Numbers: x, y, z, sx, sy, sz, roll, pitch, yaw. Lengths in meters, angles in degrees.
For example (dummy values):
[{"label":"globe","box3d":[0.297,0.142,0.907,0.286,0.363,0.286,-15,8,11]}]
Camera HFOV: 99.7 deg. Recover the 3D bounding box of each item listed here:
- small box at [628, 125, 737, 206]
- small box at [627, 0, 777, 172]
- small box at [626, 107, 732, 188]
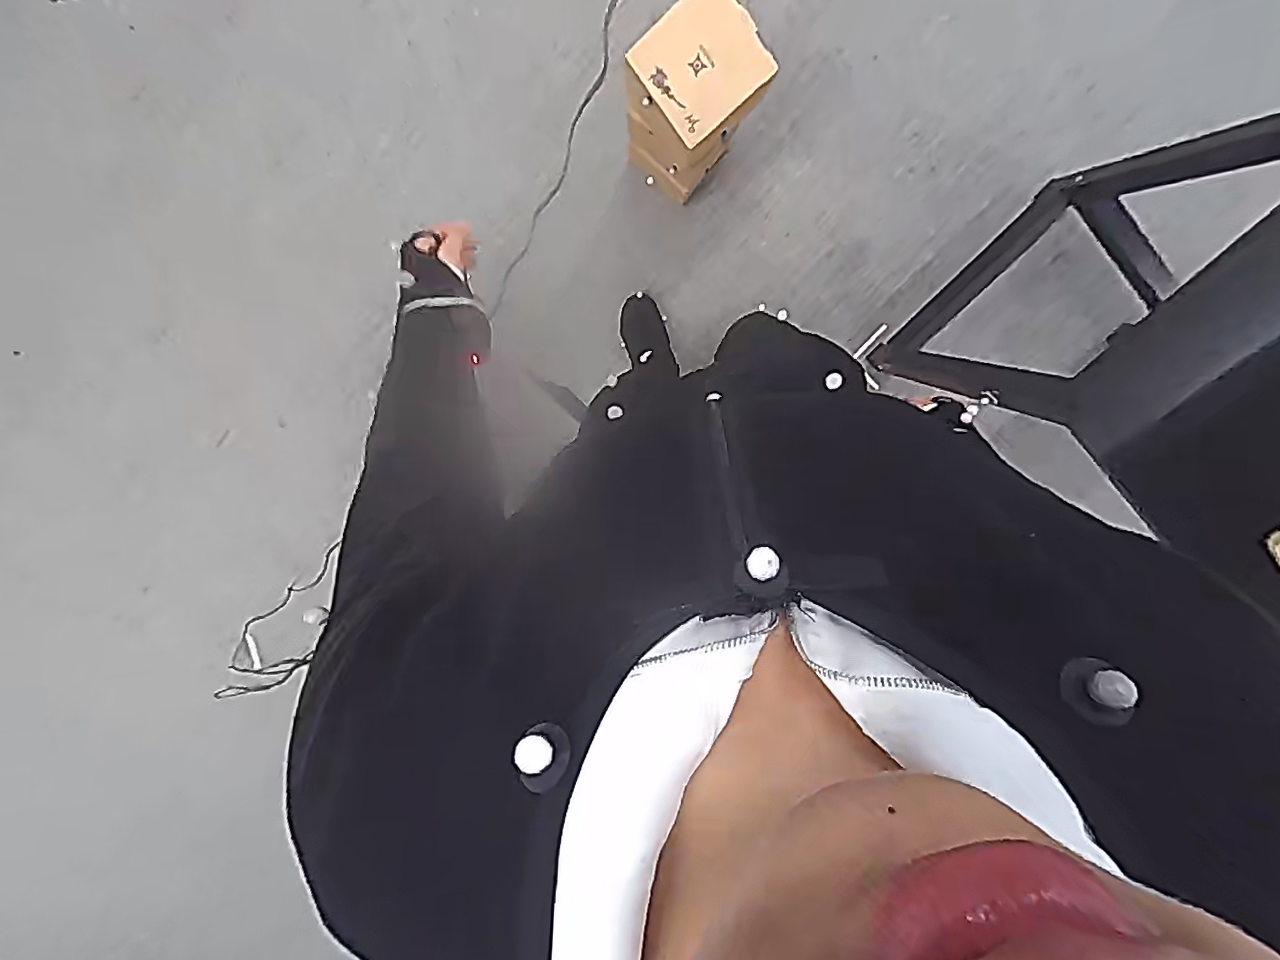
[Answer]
[{"label":"small box","box3d":[0.088,-0.749,1.205,0.168,0.176,0.179,38,105,-11]},{"label":"small box","box3d":[0.091,-0.653,0.893,0.179,0.176,0.168,-38,104,10]},{"label":"small box","box3d":[0.090,-0.704,1.049,0.168,0.176,0.179,35,103,-11]}]
